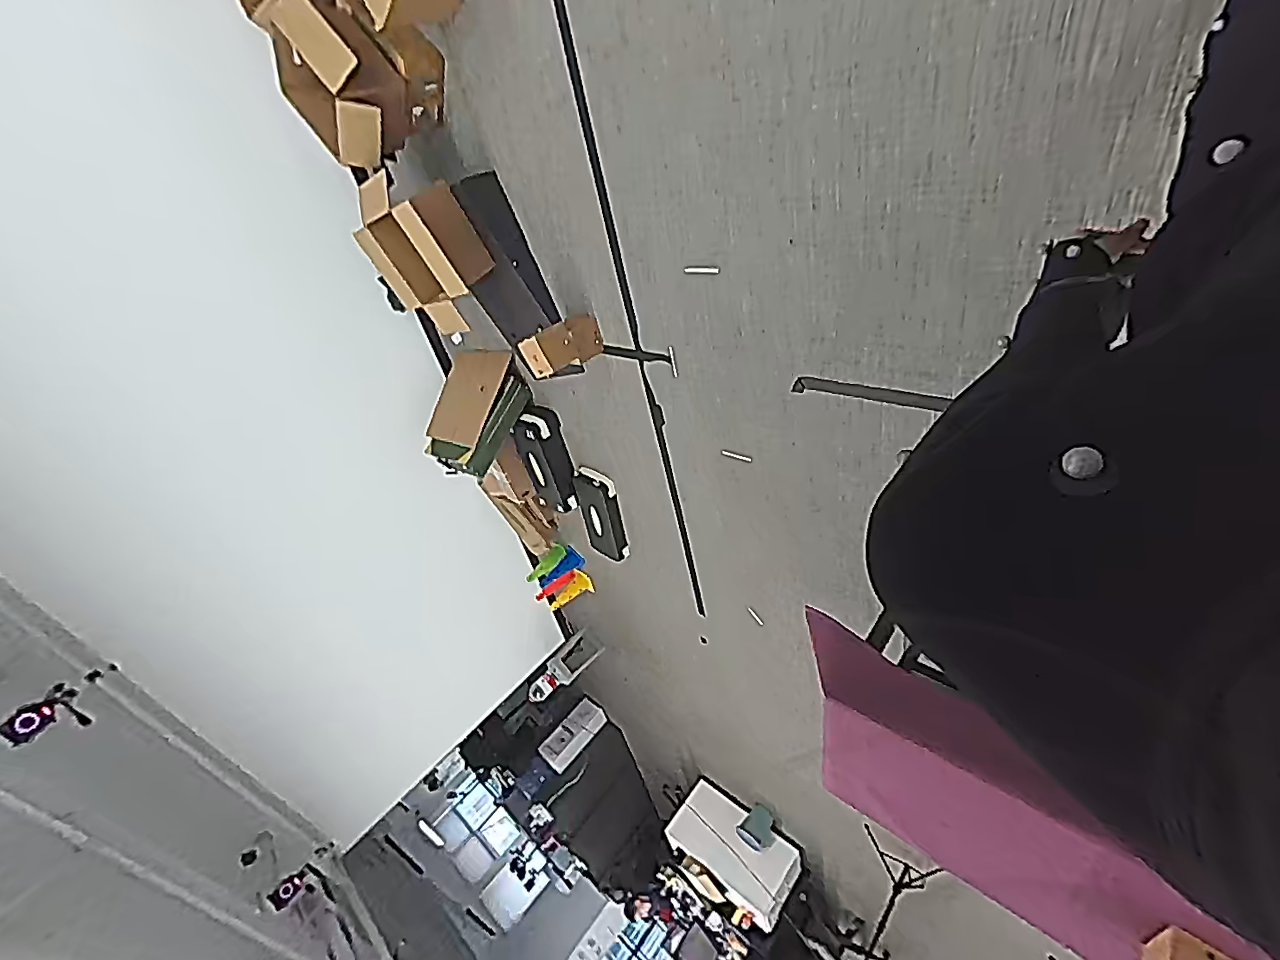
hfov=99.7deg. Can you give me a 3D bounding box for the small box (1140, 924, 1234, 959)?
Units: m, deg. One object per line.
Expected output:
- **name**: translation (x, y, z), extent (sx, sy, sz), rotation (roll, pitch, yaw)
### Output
- **small box**: translation (1.187, 1.097, 1.144), extent (0.168, 0.176, 0.179), rotation (22, 139, 37)
